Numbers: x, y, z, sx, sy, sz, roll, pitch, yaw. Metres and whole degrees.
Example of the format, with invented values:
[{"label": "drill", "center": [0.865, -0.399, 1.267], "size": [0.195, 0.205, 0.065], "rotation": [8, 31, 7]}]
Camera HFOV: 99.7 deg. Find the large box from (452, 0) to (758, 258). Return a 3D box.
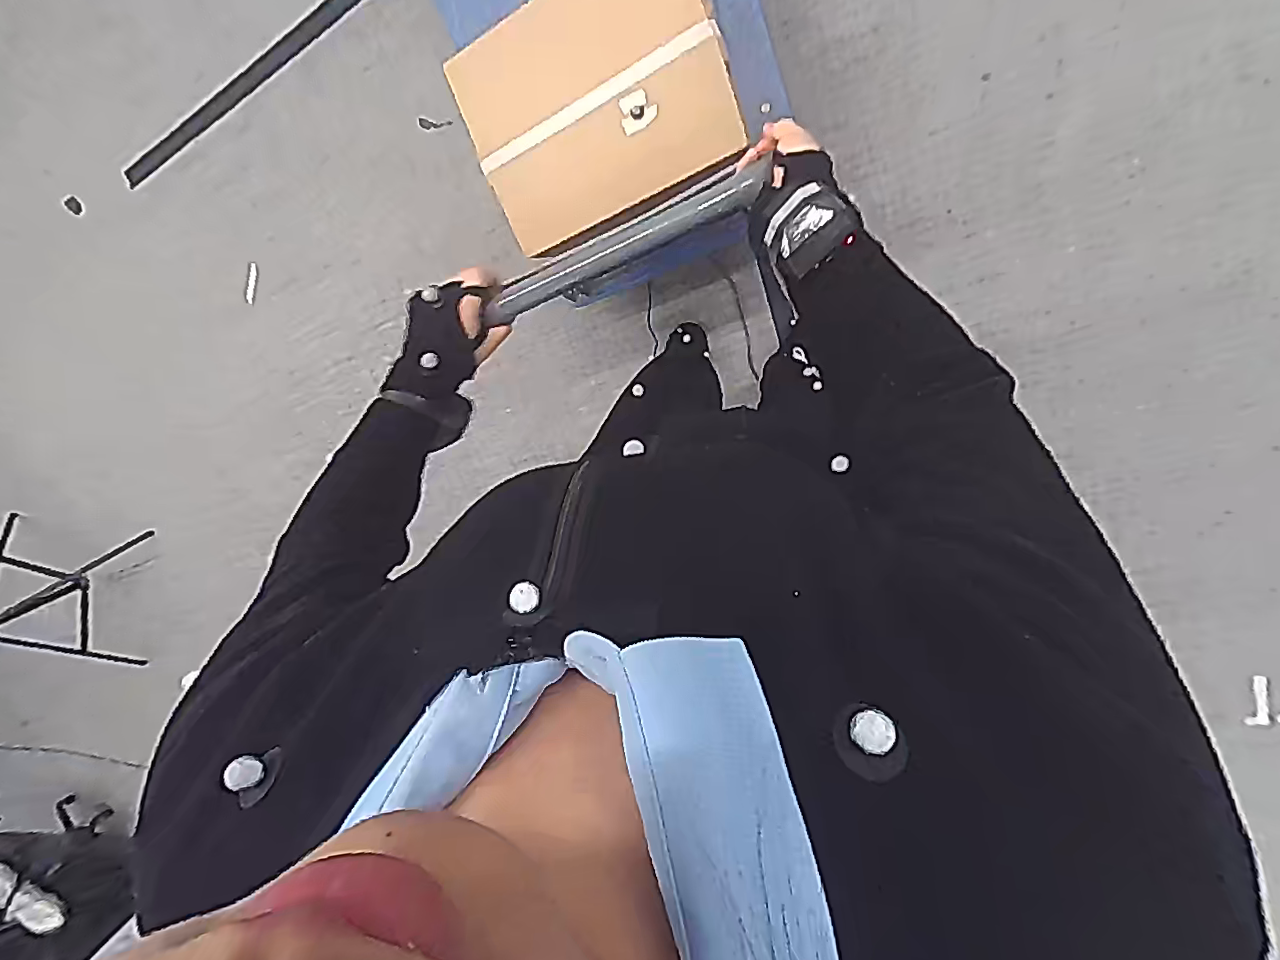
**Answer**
[{"label": "large box", "center": [-0.035, -0.630, 0.964], "size": [0.408, 0.320, 0.320], "rotation": [-18, 107, 21]}]
